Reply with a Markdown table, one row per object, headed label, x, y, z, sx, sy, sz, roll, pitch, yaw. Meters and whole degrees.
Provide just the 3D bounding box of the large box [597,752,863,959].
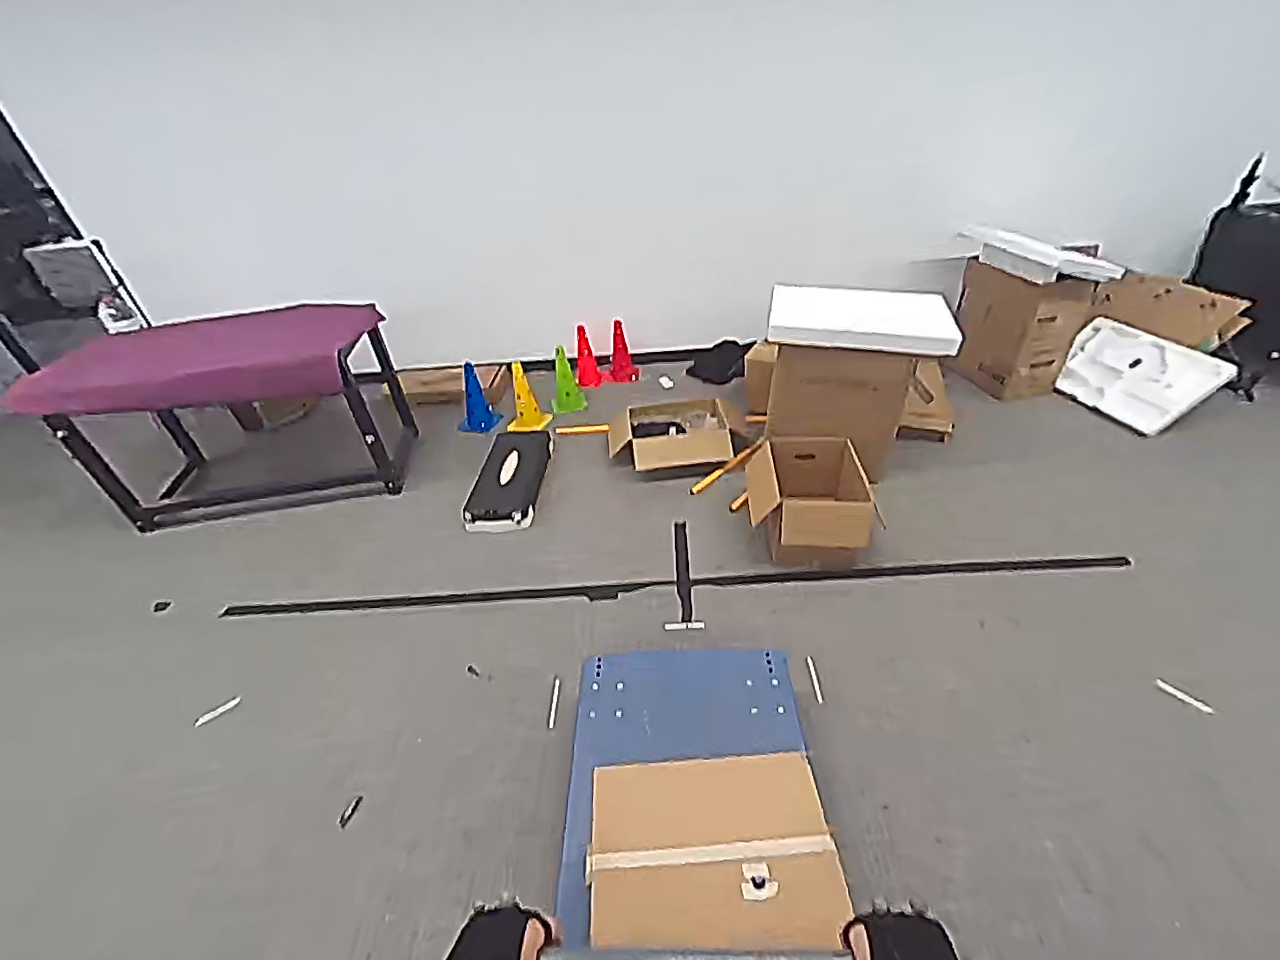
| label | x | y | z | sx | sy | sz | roll | pitch | yaw |
| --- | --- | --- | --- | --- | --- | --- | --- | --- | --- |
| large box | 0.132 | 0.747 | 0.998 | 0.408 | 0.320 | 0.320 | -4 | 37 | -1 |
